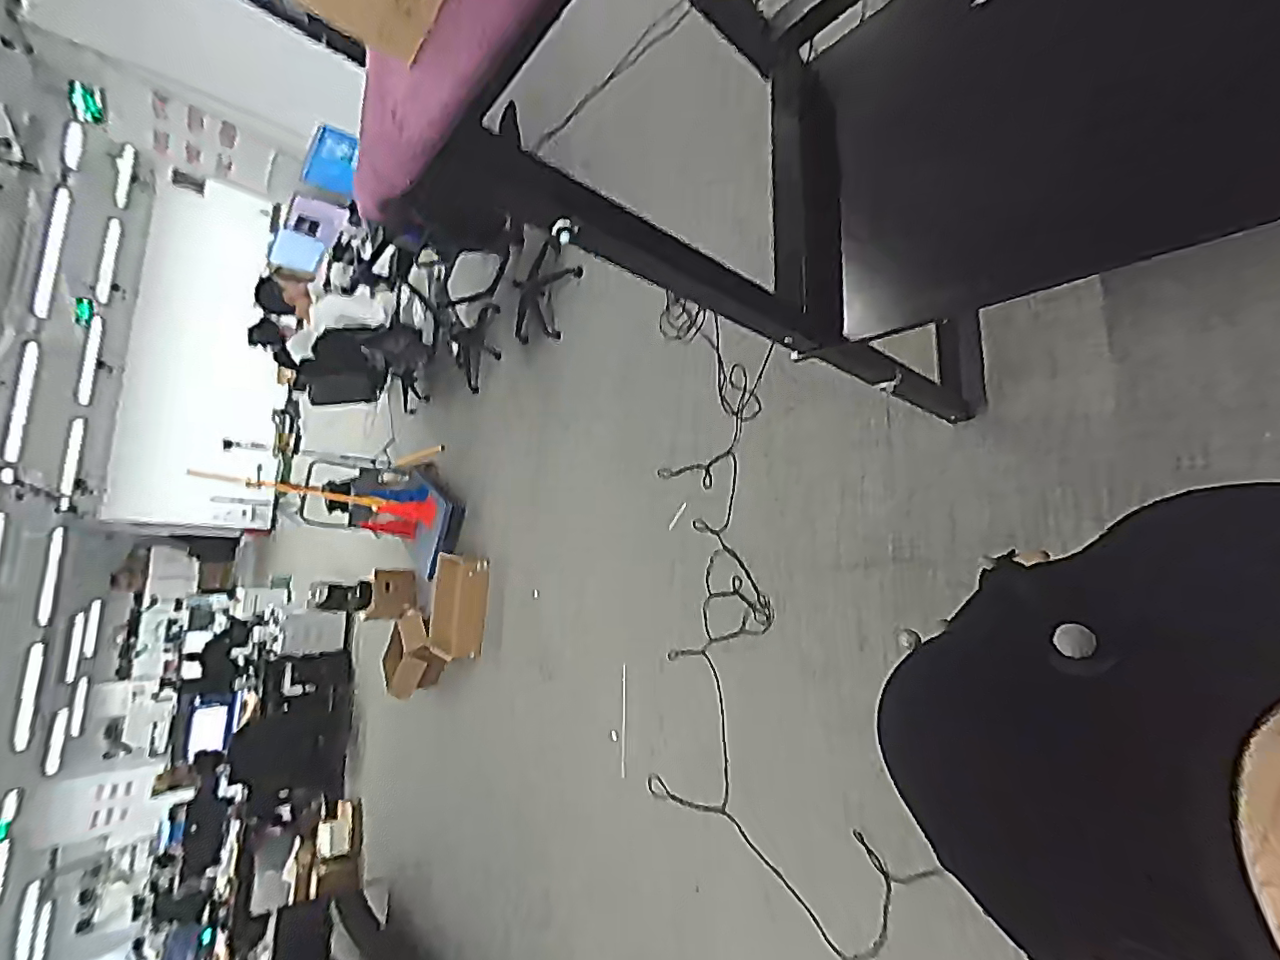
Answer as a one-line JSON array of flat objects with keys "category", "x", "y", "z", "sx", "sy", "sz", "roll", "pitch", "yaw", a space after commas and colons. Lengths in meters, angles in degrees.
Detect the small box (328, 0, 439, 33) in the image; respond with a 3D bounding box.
[{"category": "small box", "x": -0.188, "y": -0.438, "z": 0.337, "sx": 0.168, "sy": 0.176, "sz": 0.179, "roll": -12, "pitch": 75, "yaw": 46}]
